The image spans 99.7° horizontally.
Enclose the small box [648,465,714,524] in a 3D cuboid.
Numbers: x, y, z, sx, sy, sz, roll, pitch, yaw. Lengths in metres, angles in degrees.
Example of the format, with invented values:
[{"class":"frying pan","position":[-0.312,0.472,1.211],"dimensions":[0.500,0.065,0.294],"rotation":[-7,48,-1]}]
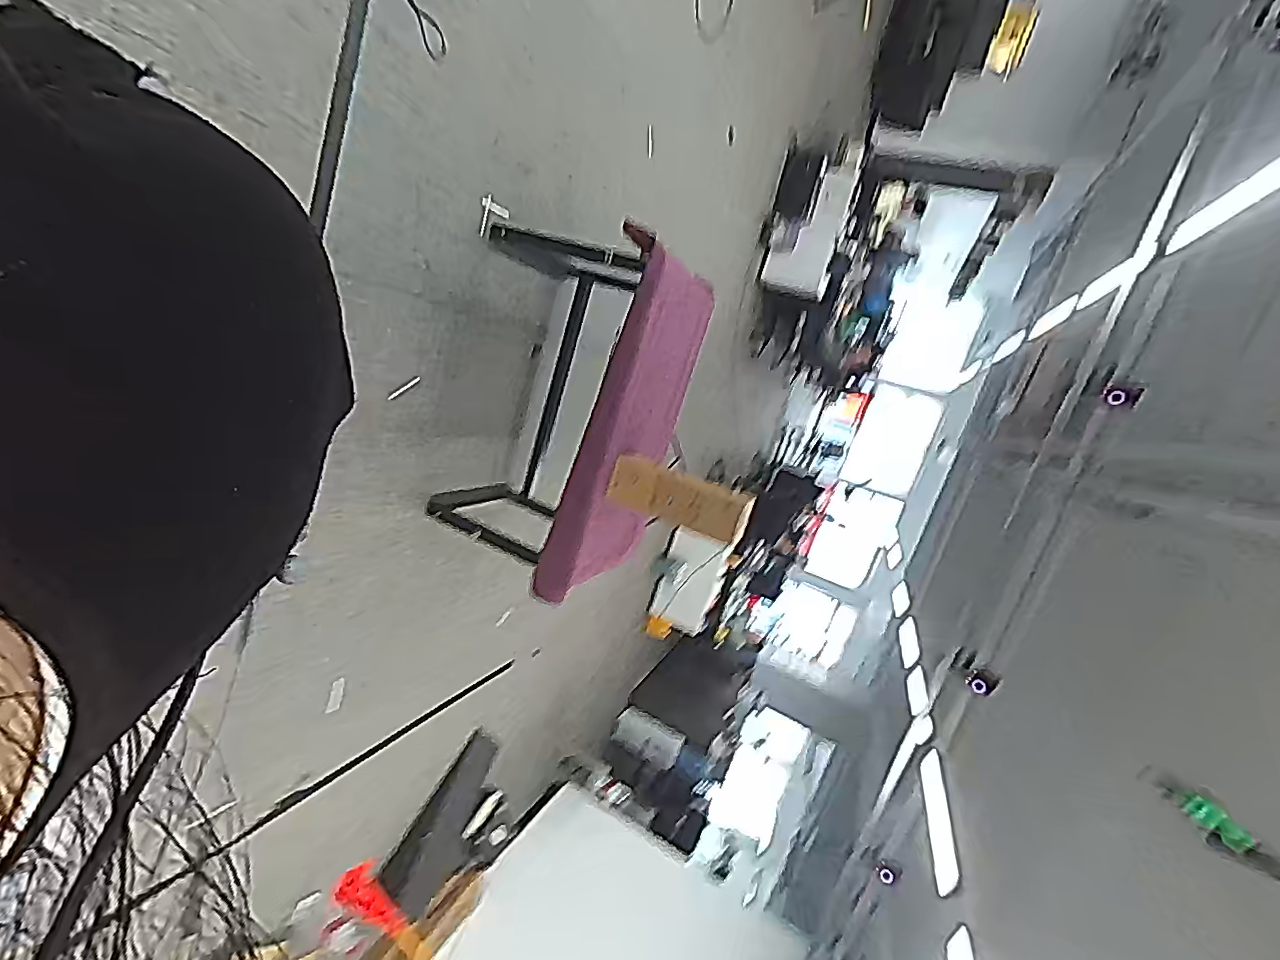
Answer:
[{"class":"small box","position":[0.148,0.048,1.977],"dimensions":[0.179,0.176,0.168],"rotation":[-9,118,-67]}]

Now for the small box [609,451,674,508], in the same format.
[{"class":"small box","position":[0.003,-0.007,2.029],"dimensions":[0.179,0.176,0.168],"rotation":[-11,120,-67]}]
